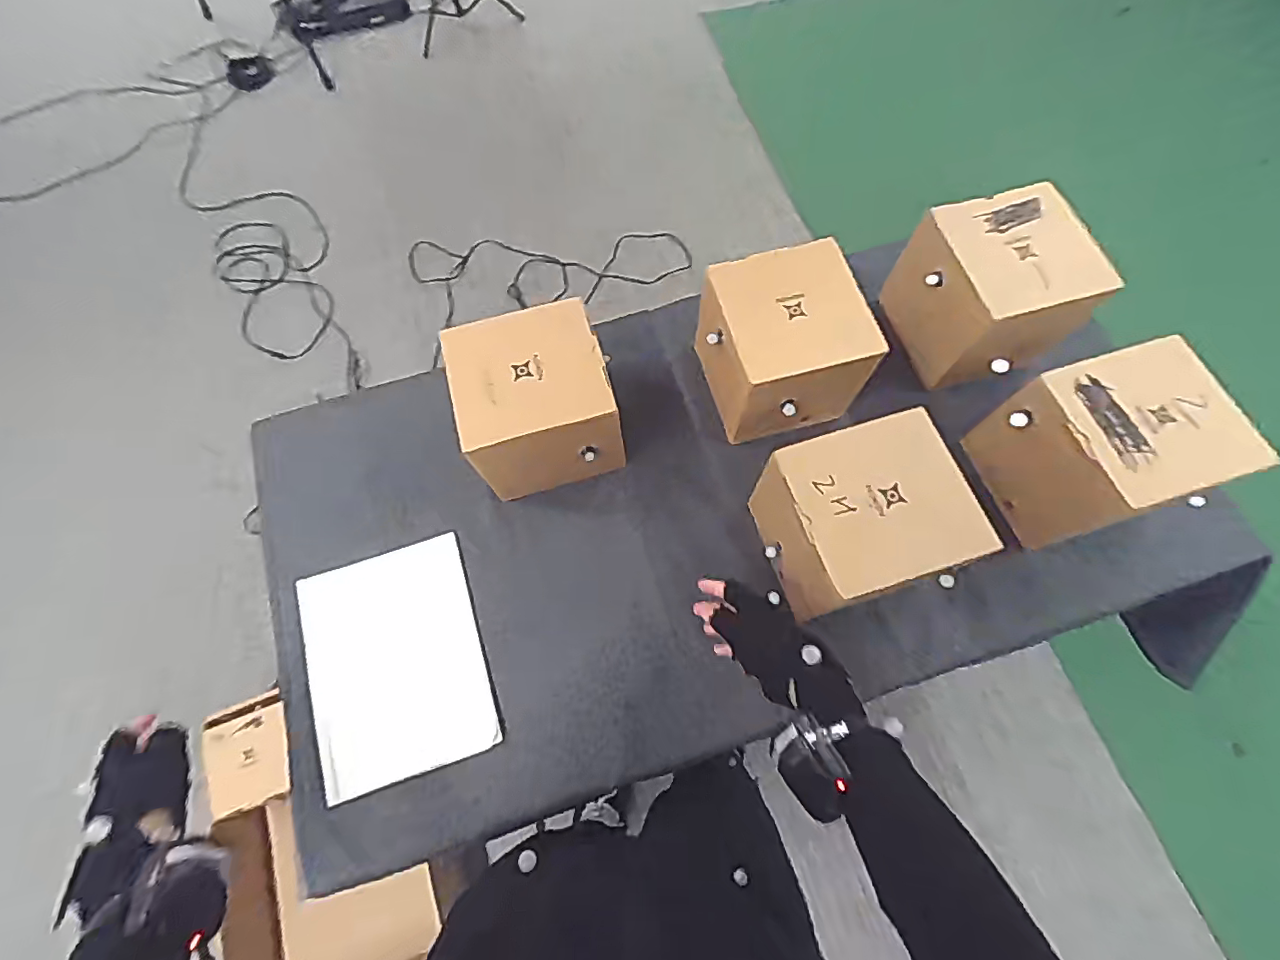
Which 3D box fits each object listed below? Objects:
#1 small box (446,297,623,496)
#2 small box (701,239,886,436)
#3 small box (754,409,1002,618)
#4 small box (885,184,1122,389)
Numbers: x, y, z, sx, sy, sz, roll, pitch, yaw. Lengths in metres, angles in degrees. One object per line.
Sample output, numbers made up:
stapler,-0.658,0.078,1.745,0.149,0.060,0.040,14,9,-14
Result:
small box,-0.123,-0.097,0.687,0.179,0.176,0.168,-15,69,-5
small box,0.184,-0.172,0.708,0.168,0.176,0.179,-14,69,-3
small box,0.249,0.047,0.618,0.179,0.176,0.168,-17,68,-4
small box,0.462,-0.251,0.725,0.168,0.176,0.179,-15,70,-3
